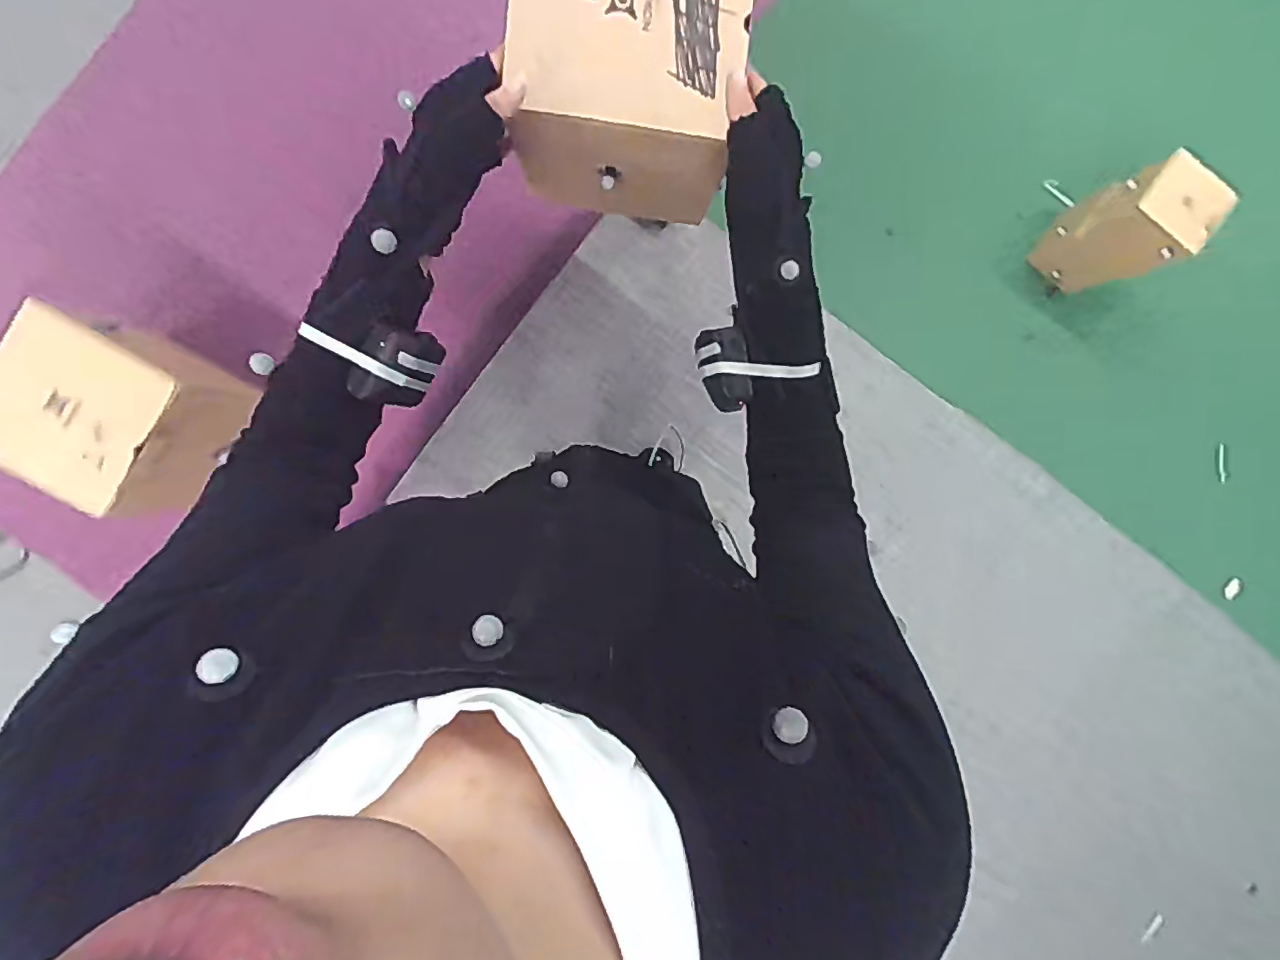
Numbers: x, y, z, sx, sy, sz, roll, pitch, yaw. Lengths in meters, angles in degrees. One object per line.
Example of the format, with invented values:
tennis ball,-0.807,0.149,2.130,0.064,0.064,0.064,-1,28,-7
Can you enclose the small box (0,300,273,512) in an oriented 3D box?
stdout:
small box,-0.599,-0.078,0.643,0.179,0.176,0.168,30,91,-3

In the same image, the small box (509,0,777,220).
small box,0.002,-0.343,0.454,0.179,0.176,0.168,10,93,-5

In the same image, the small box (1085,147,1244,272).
small box,1.212,-0.620,1.267,0.179,0.176,0.168,36,91,-4
